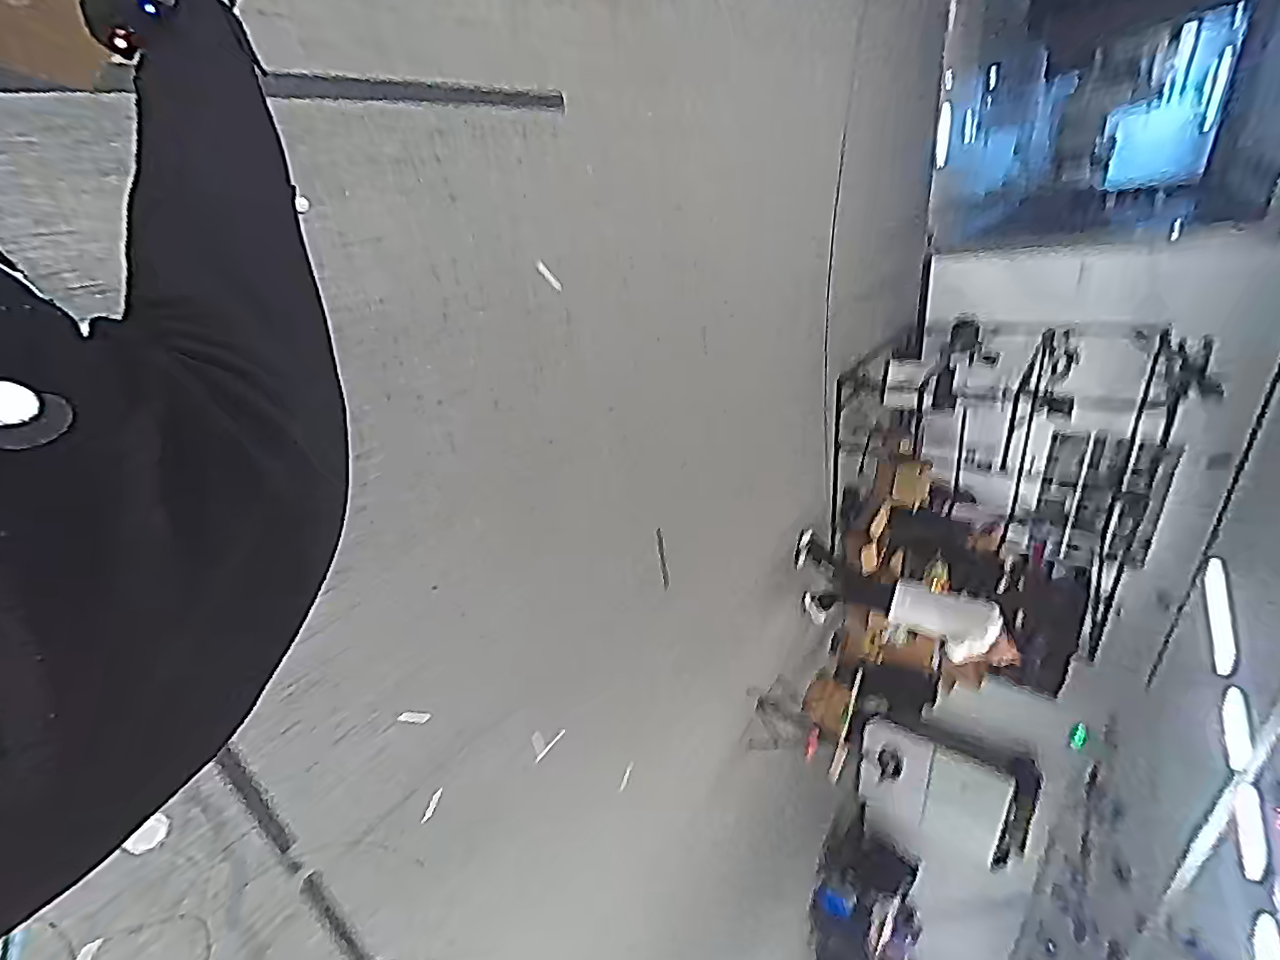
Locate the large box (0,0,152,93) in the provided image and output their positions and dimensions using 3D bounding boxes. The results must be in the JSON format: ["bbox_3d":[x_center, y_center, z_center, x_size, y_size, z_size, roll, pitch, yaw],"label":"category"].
[{"bbox_3d":[-0.600,-0.500,0.313,0.408,0.320,0.320,-12,114,-50],"label":"large box"}]
